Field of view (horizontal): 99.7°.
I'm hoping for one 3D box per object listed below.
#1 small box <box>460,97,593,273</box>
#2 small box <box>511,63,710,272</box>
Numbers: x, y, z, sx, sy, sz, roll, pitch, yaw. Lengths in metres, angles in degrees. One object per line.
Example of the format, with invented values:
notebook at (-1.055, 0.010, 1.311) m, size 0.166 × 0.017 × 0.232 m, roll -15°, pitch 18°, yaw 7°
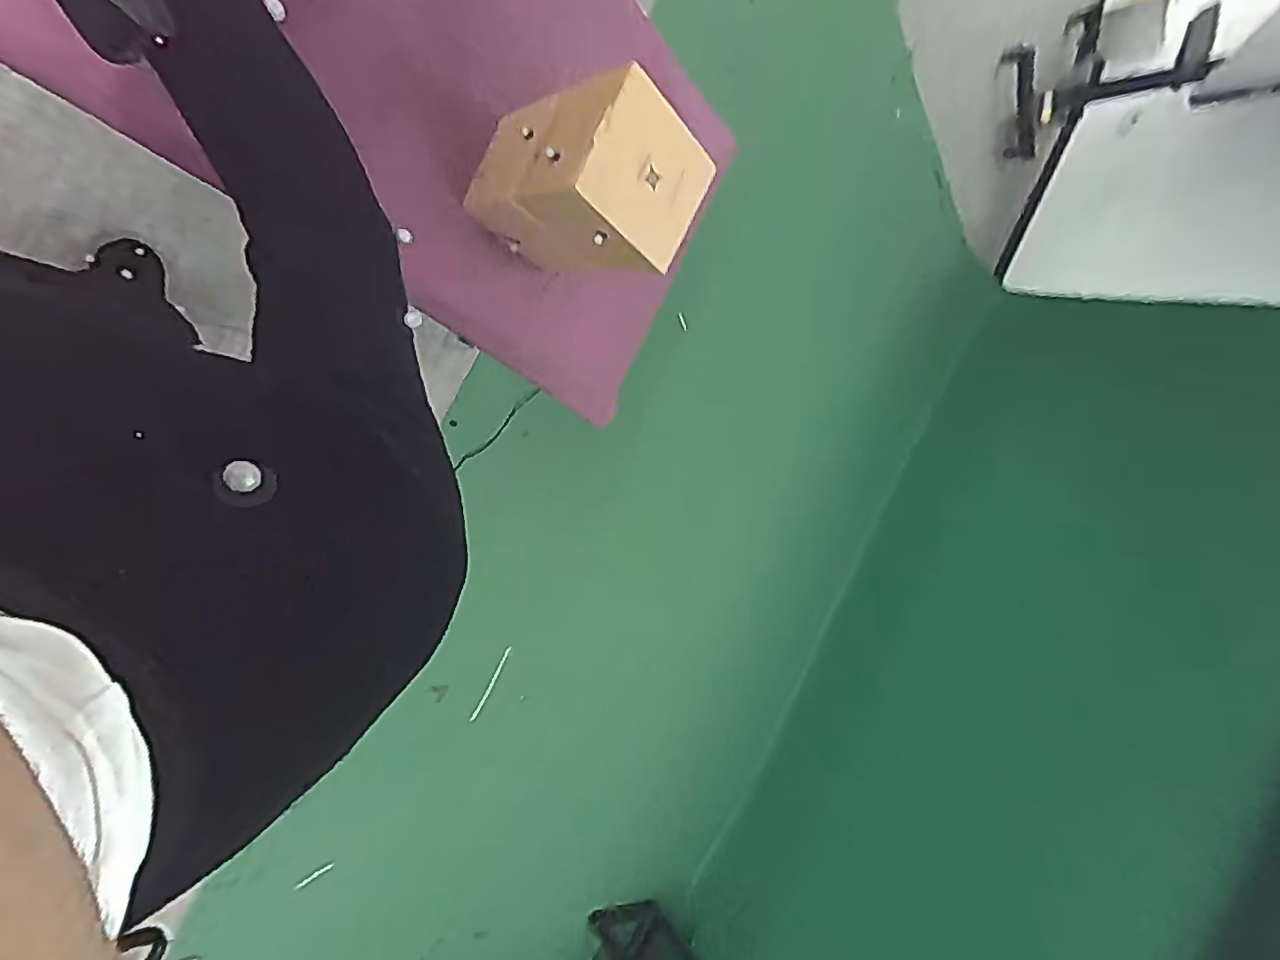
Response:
small box at (-0.148, -0.453, 0.853) m, size 0.179 × 0.176 × 0.168 m, roll 27°, pitch 89°, yaw -44°
small box at (-0.044, -0.404, 0.736) m, size 0.179 × 0.176 × 0.168 m, roll 29°, pitch 89°, yaw -44°
